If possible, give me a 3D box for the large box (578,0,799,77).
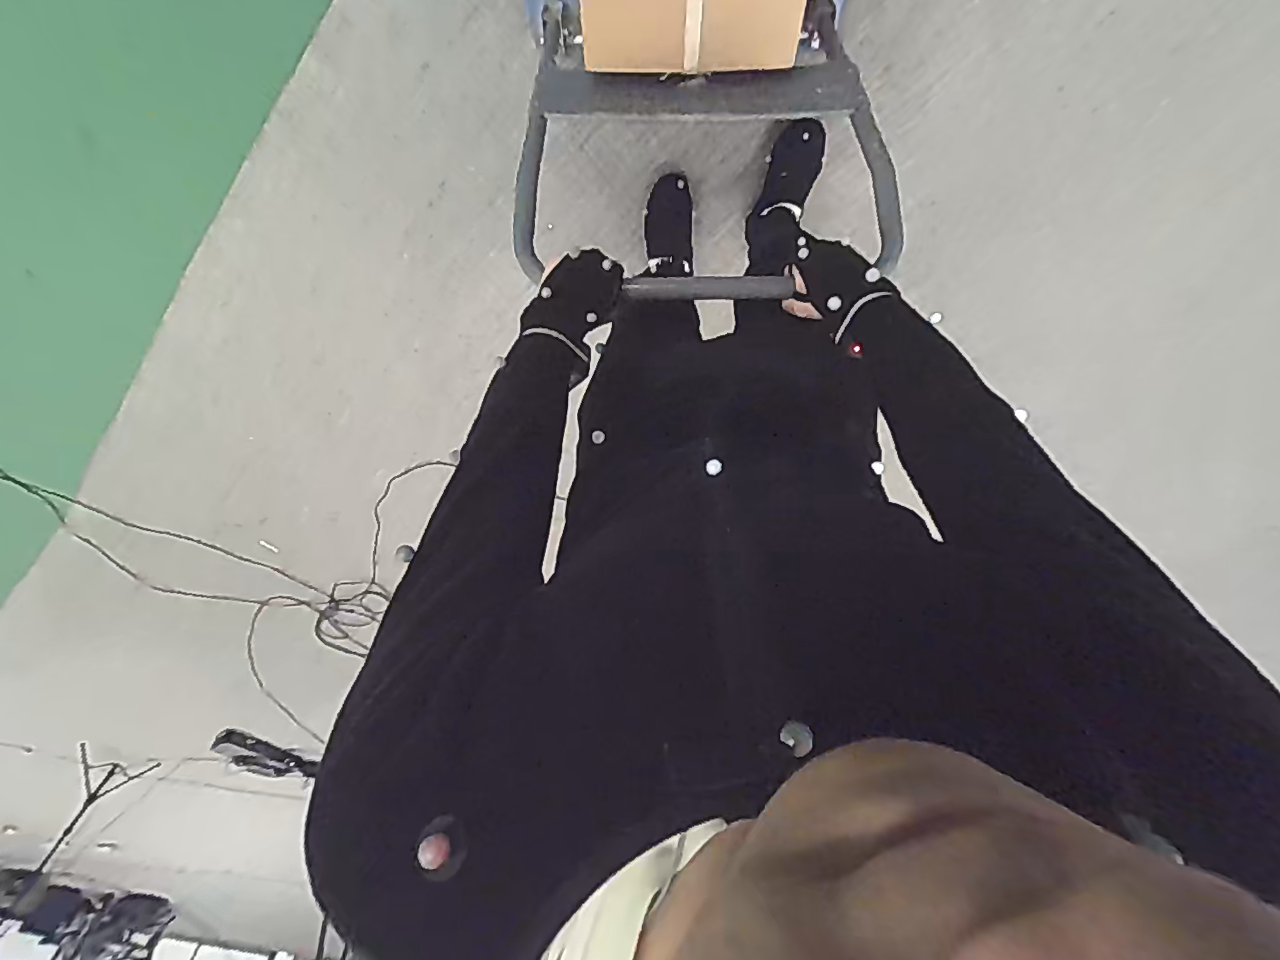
[{"bbox_3d":[0.069,-0.853,0.751,0.320,0.320,0.408,1,146,1],"label":"large box"}]
